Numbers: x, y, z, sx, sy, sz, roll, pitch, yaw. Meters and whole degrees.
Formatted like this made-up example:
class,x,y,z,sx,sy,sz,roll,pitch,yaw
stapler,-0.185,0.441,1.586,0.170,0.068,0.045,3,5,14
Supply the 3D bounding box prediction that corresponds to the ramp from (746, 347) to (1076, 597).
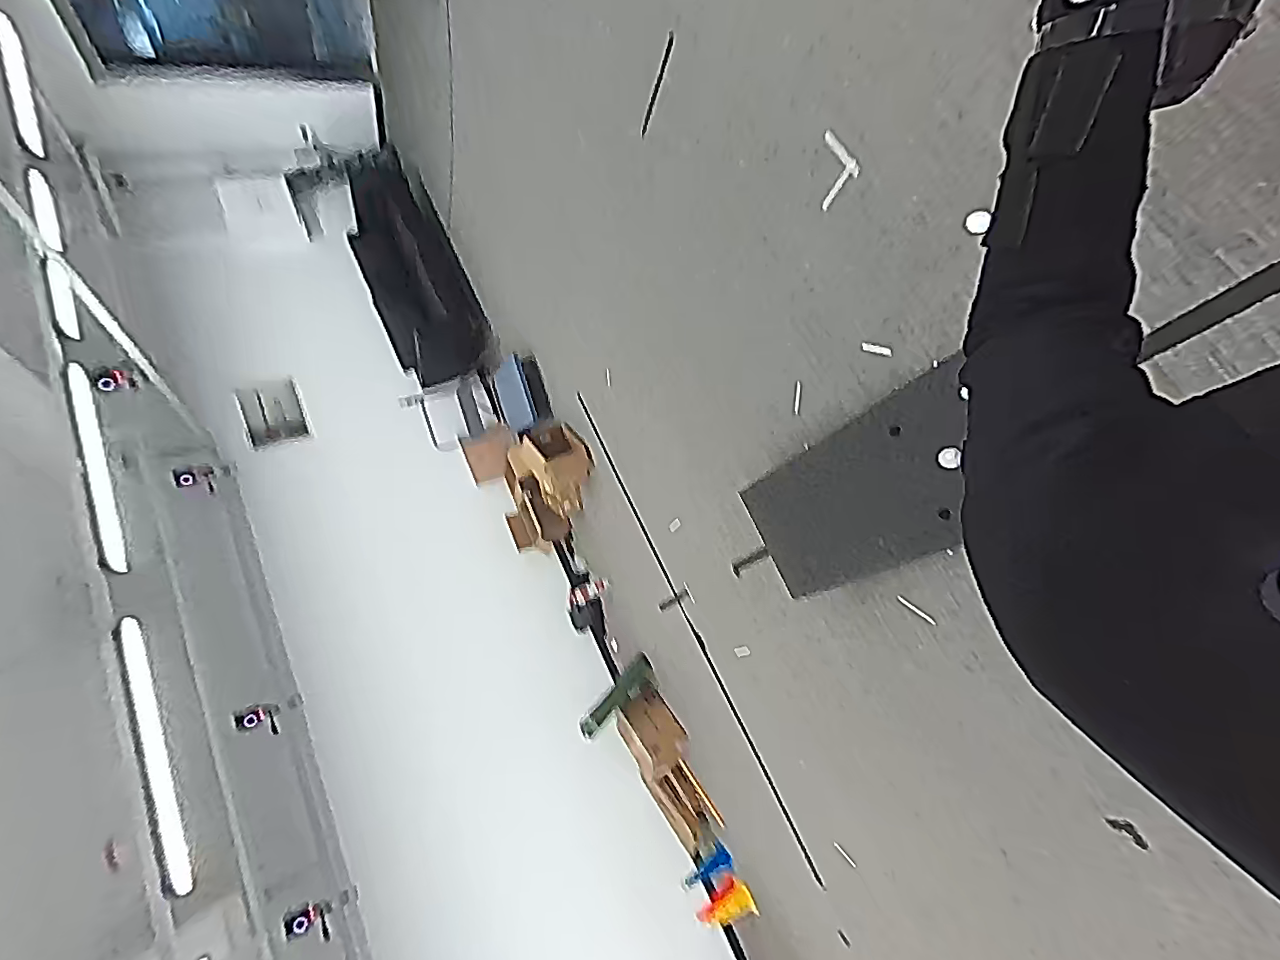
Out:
class,x,y,z,sx,sy,sz,roll,pitch,yaw
ramp,0.771,0.044,1.796,0.509,0.206,0.991,65,154,14
